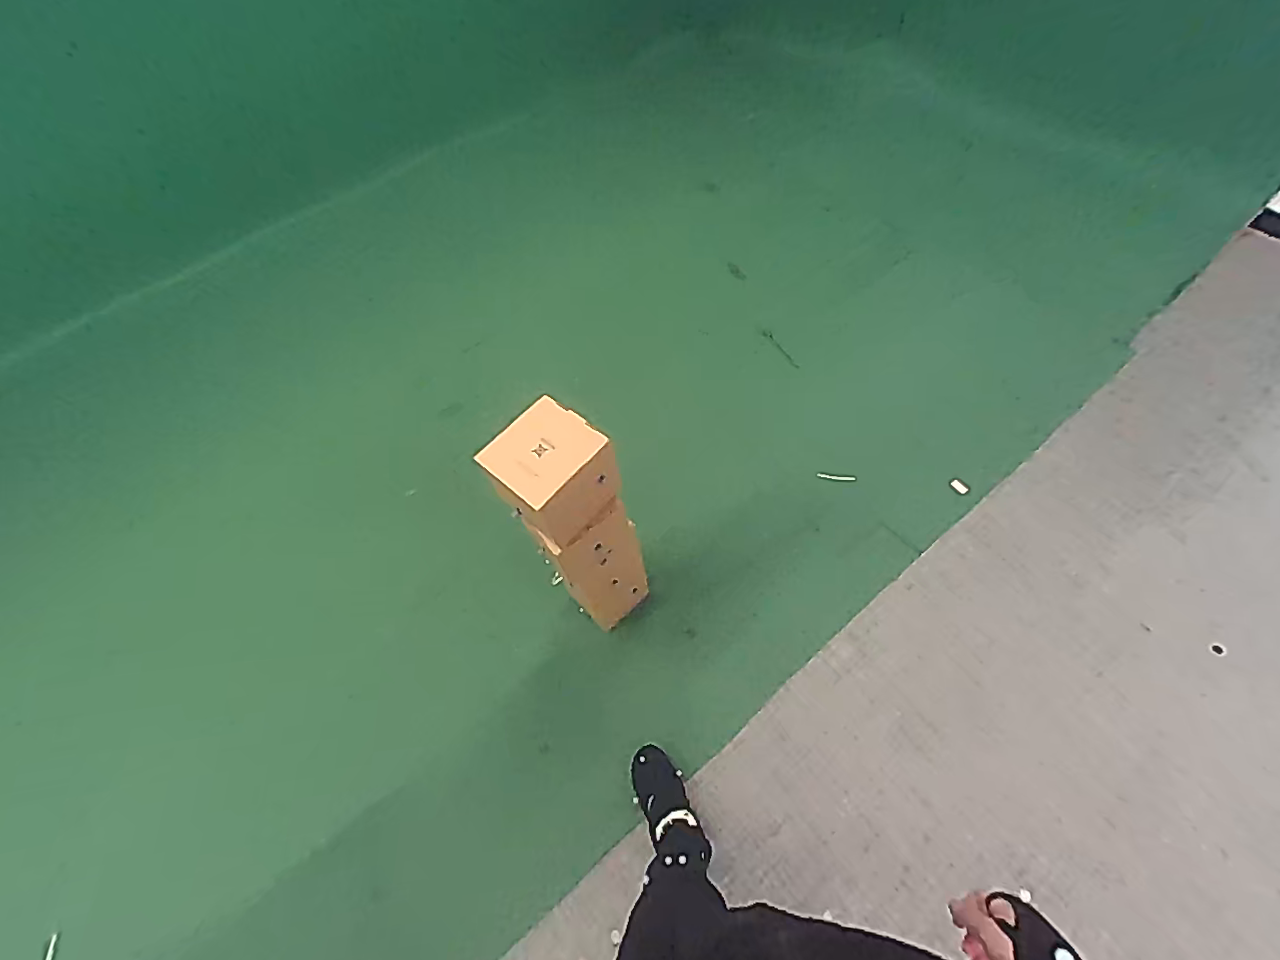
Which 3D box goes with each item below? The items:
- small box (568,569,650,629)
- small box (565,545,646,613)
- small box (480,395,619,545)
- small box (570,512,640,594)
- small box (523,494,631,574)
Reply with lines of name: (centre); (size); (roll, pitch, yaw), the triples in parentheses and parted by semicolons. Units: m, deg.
small box: (-0.084, 0.298, 1.559); (0.179, 0.176, 0.168); (-40, 64, -17)
small box: (-0.098, 0.217, 1.420); (0.179, 0.176, 0.168); (-39, 64, -15)
small box: (-0.153, -0.015, 0.991); (0.168, 0.176, 0.179); (36, 71, 24)
small box: (-0.115, 0.141, 1.276); (0.179, 0.176, 0.168); (-41, 65, -17)
small box: (-0.135, 0.076, 1.126); (0.168, 0.176, 0.179); (-37, 64, -15)
